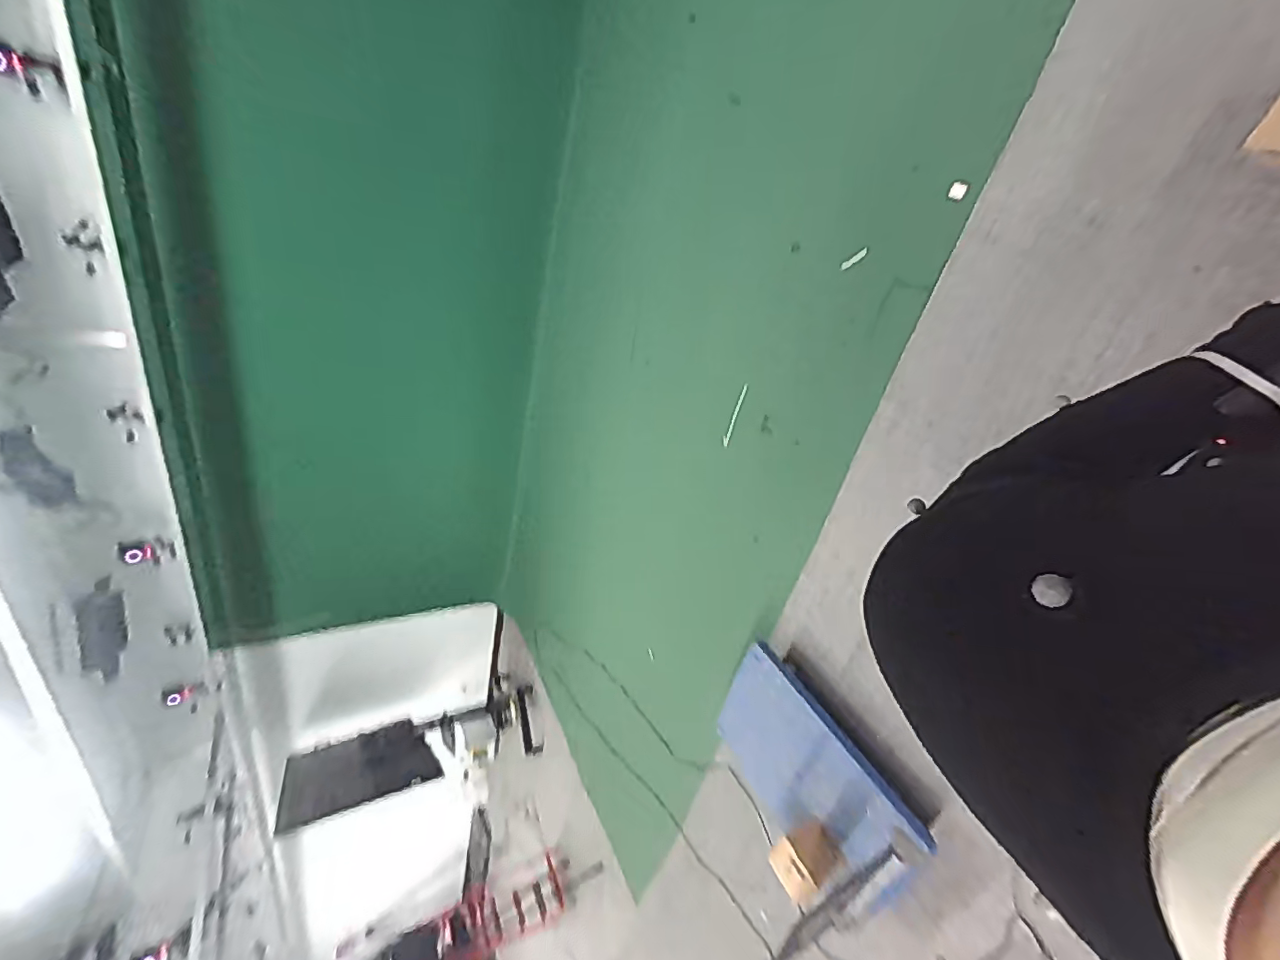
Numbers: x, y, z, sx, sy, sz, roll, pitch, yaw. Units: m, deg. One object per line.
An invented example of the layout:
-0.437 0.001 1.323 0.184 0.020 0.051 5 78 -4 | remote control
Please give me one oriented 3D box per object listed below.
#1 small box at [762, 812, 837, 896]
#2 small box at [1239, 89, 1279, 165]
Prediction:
0.581 1.349 1.958 0.168 0.176 0.179 51 135 43 | small box
1.133 -0.590 0.849 0.168 0.176 0.179 53 138 41 | small box
